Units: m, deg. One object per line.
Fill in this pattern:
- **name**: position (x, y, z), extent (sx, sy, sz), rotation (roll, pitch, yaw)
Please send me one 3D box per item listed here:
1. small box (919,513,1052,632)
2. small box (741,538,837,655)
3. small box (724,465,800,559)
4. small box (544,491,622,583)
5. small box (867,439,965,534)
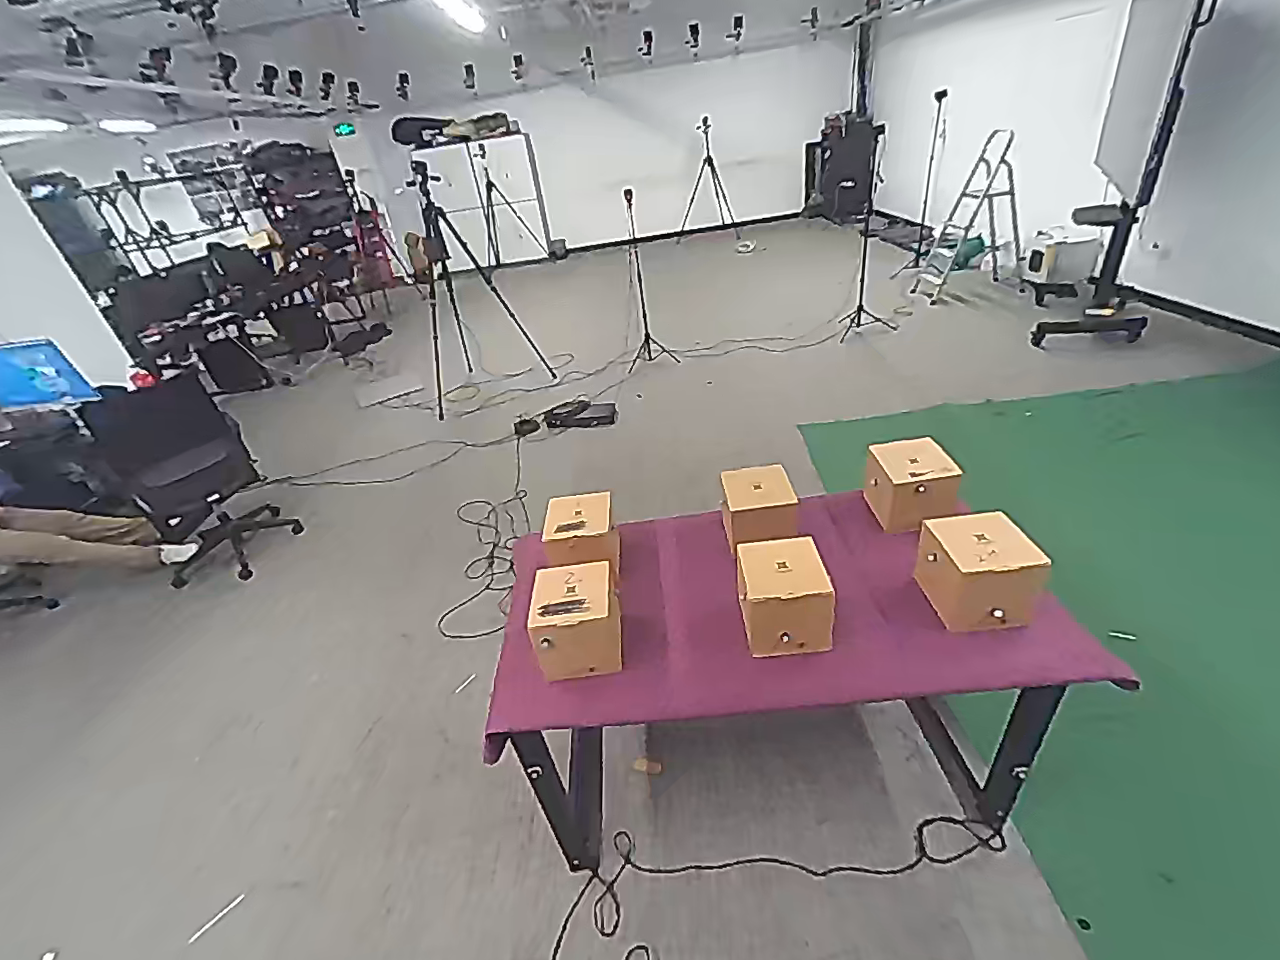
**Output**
- **small box**: position (0.709, 0.192, 1.135), extent (0.168, 0.176, 0.179), rotation (-7, 32, 6)
- **small box**: position (0.309, 0.248, 1.159), extent (0.168, 0.176, 0.179), rotation (-6, 32, 4)
- **small box**: position (0.312, 0.083, 1.411), extent (0.168, 0.176, 0.179), rotation (-7, 35, 4)
- **small box**: position (-0.141, 0.154, 1.410), extent (0.168, 0.176, 0.179), rotation (-7, 34, 3)
- **small box**: position (0.704, 0.016, 1.405), extent (0.168, 0.176, 0.179), rotation (-9, 34, 5)
